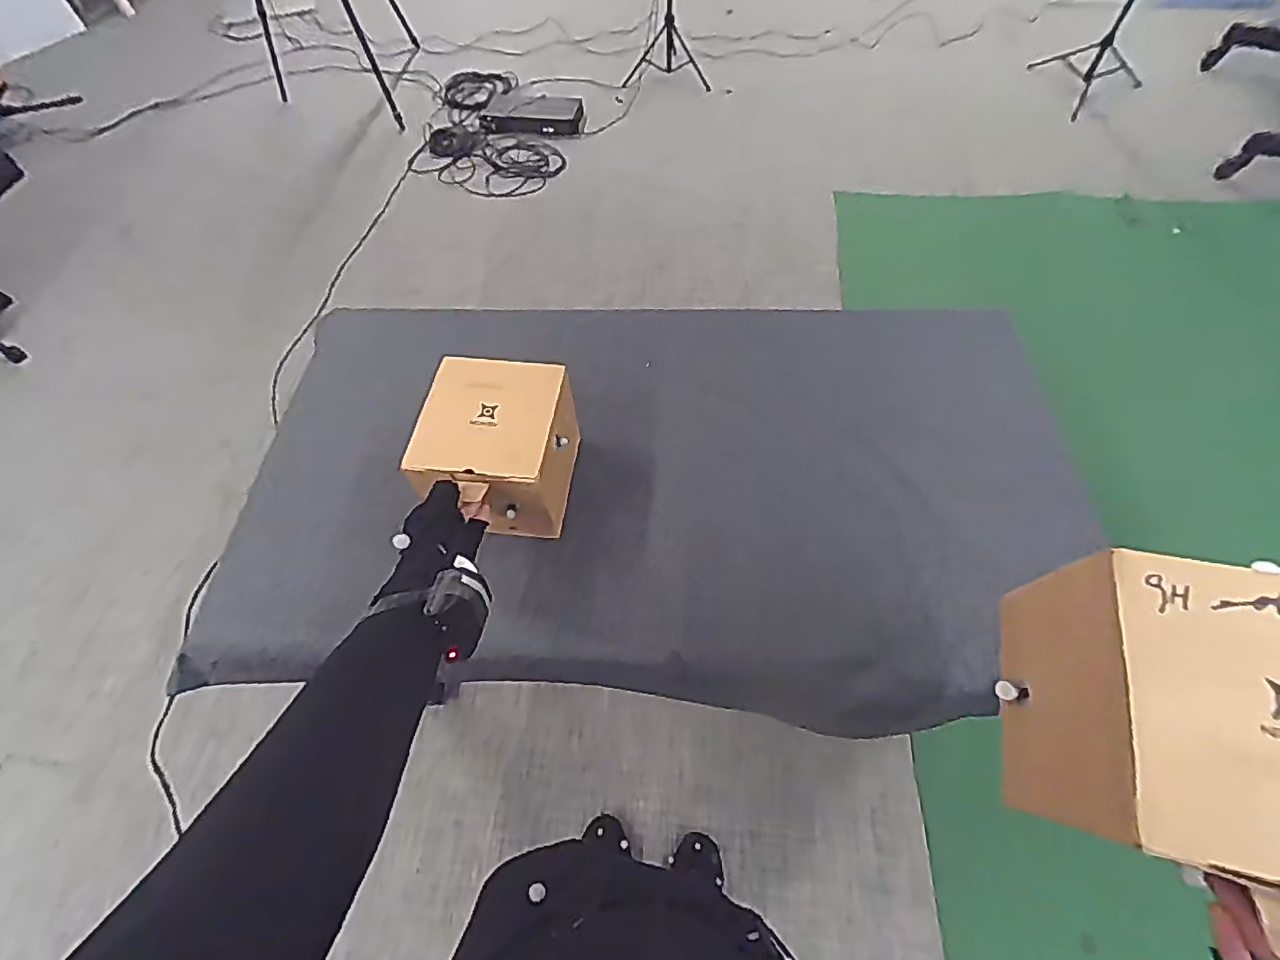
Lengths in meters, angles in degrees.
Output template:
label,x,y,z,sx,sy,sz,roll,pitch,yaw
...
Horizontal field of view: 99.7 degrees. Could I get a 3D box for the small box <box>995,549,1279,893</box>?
label,x,y,z,sx,sy,sz,roll,pitch,yaw
small box,0.376,0.166,0.378,0.168,0.176,0.179,10,70,12

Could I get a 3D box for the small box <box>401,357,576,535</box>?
label,x,y,z,sx,sy,sz,roll,pitch,yaw
small box,-0.186,-0.039,0.730,0.168,0.176,0.179,6,59,3
